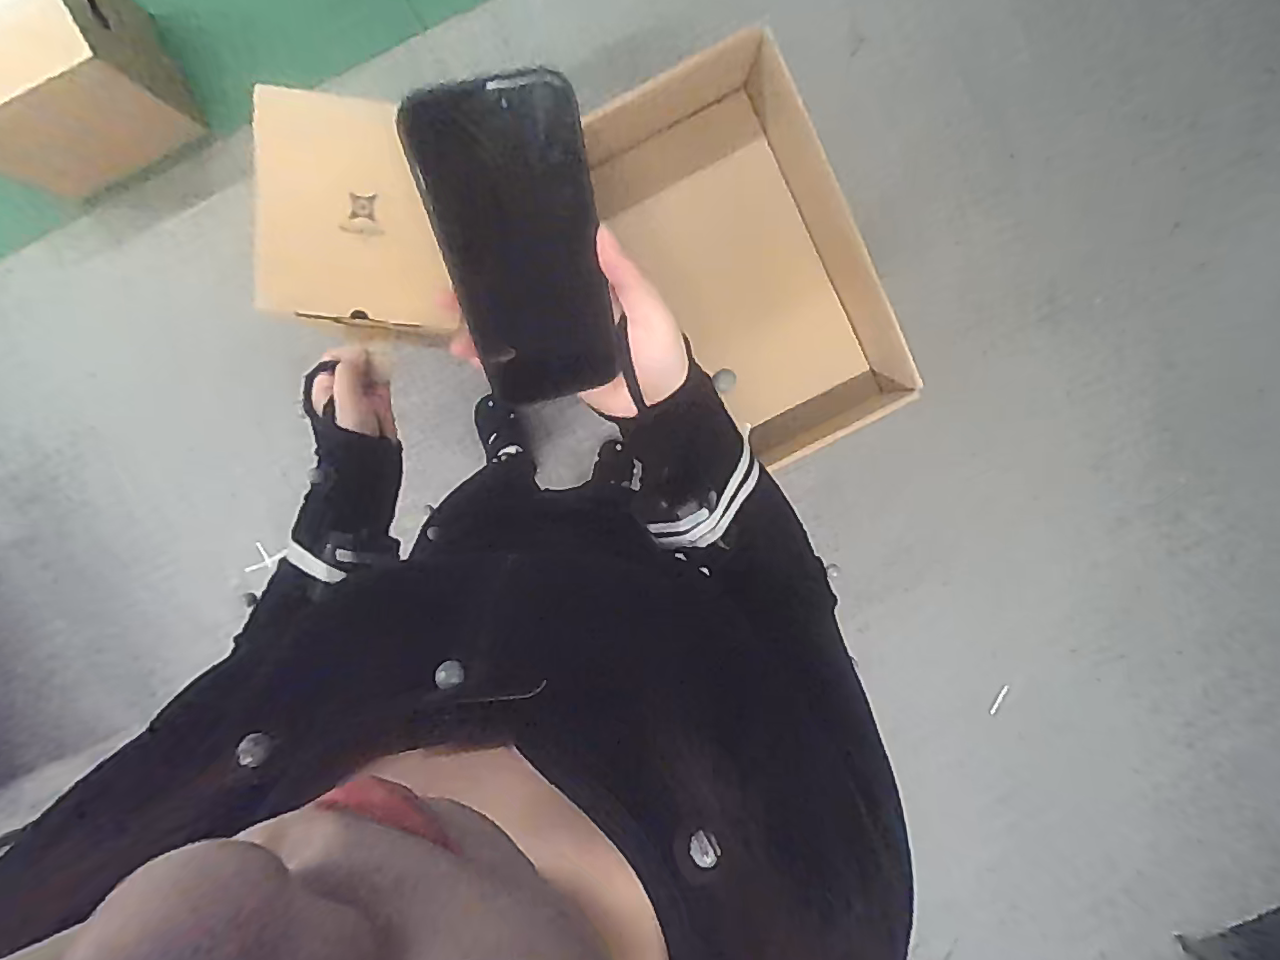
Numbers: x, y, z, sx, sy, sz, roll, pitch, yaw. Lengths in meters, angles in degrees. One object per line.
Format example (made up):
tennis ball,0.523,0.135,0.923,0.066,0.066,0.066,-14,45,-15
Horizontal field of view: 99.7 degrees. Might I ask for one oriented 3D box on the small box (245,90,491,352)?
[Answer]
small box,-0.243,-0.227,0.522,0.168,0.176,0.179,3,98,-6
